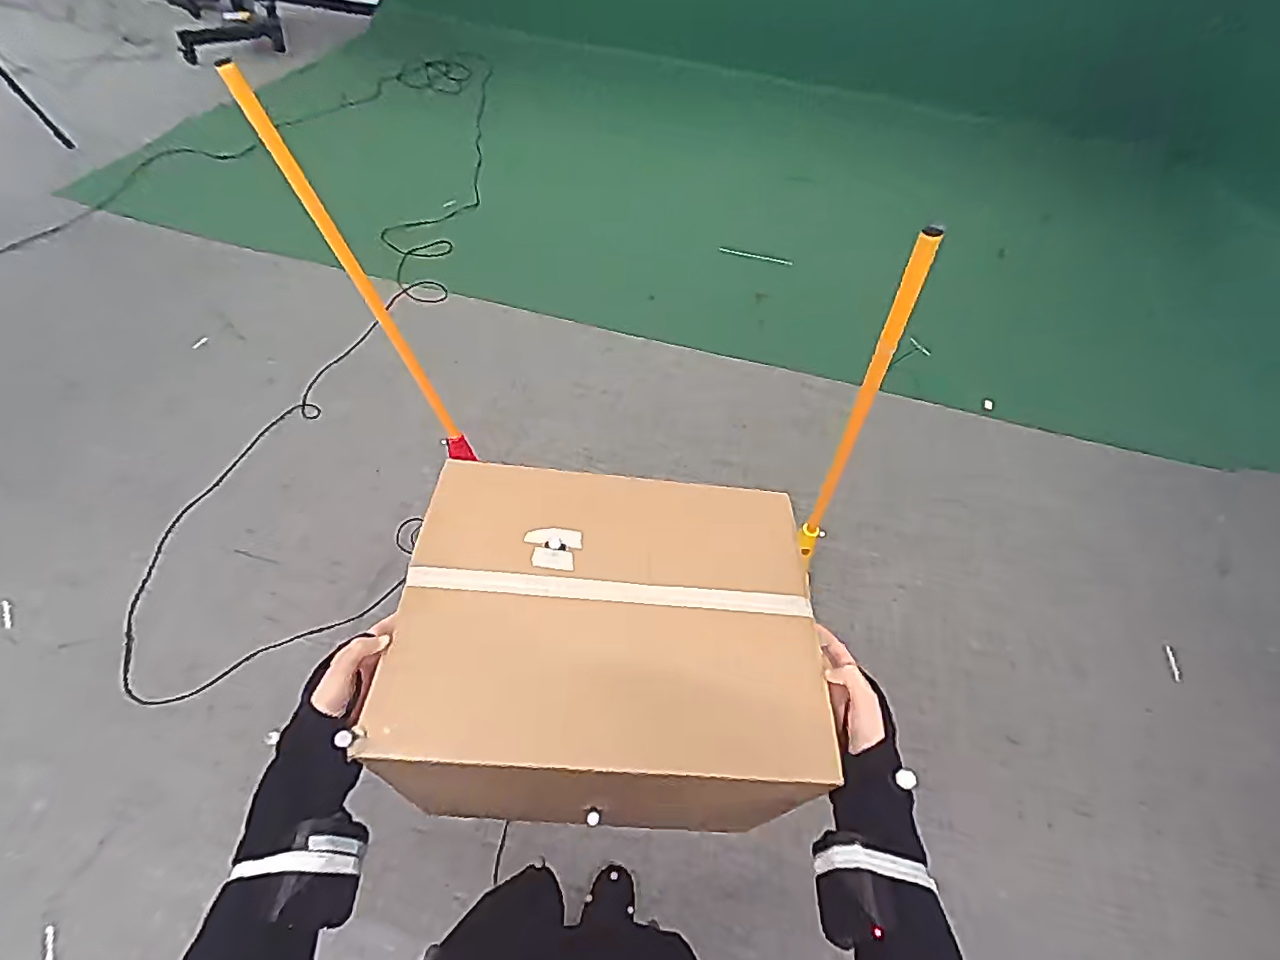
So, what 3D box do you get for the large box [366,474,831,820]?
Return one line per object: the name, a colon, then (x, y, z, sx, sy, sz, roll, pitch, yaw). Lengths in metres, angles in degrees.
large box: (-0.041, 0.217, 0.664, 0.408, 0.320, 0.320, 5, 50, -4)
